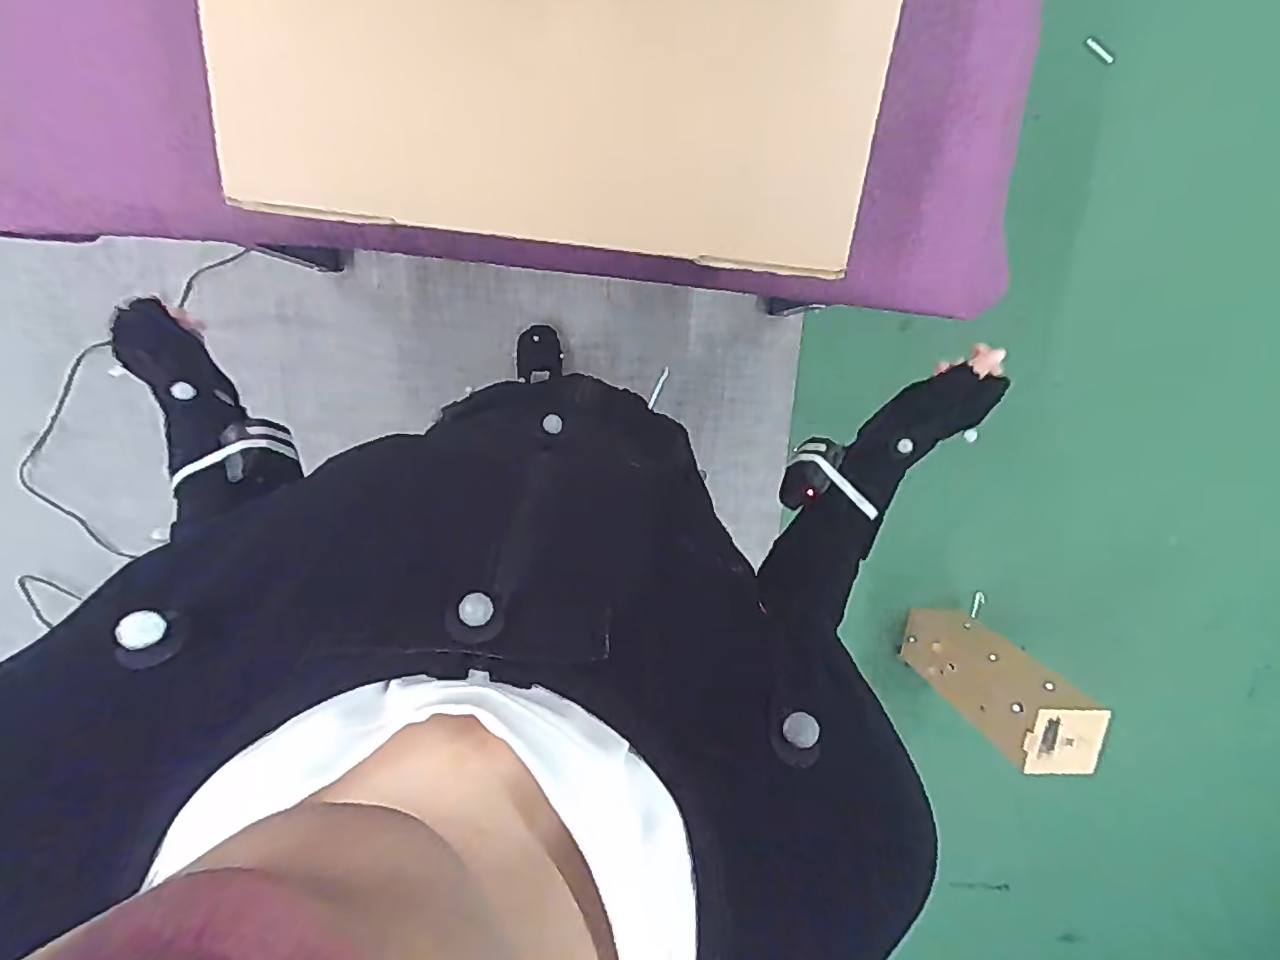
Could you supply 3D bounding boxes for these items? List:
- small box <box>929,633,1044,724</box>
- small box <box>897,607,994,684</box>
[{"bbox_3d":[0.917,0.524,1.444,0.179,0.176,0.168,3,103,-5],"label":"small box"},{"bbox_3d":[0.903,0.489,1.602,0.179,0.176,0.168,5,102,-6],"label":"small box"}]
